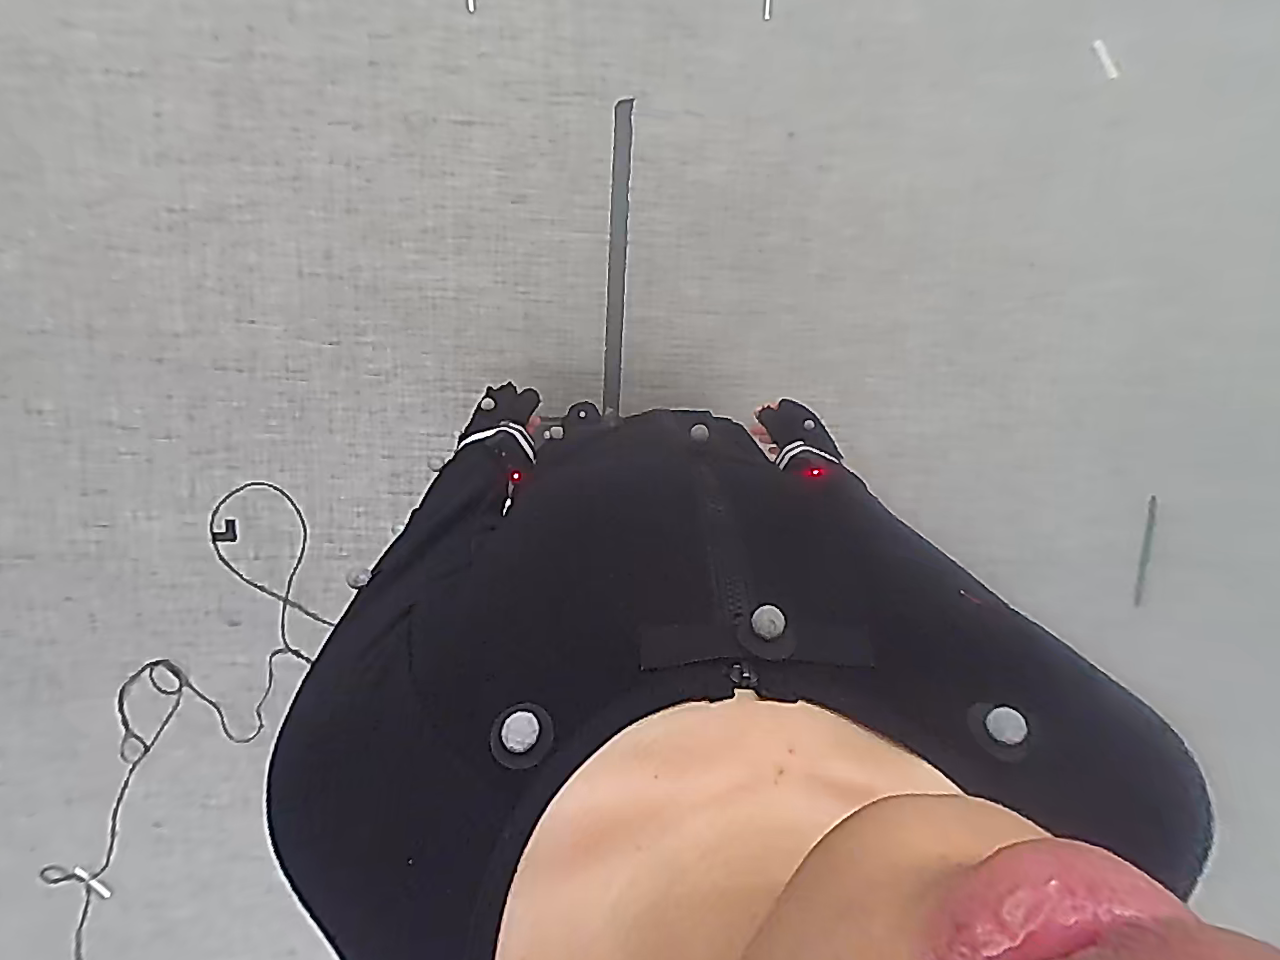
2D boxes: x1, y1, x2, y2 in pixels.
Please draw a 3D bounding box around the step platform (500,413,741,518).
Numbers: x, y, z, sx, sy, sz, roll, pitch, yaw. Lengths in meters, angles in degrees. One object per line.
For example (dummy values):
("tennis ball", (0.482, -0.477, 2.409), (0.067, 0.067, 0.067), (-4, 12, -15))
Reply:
("step platform", (-0.054, -0.045, 1.568), (0.684, 0.204, 0.286), (0, 99, -5))
